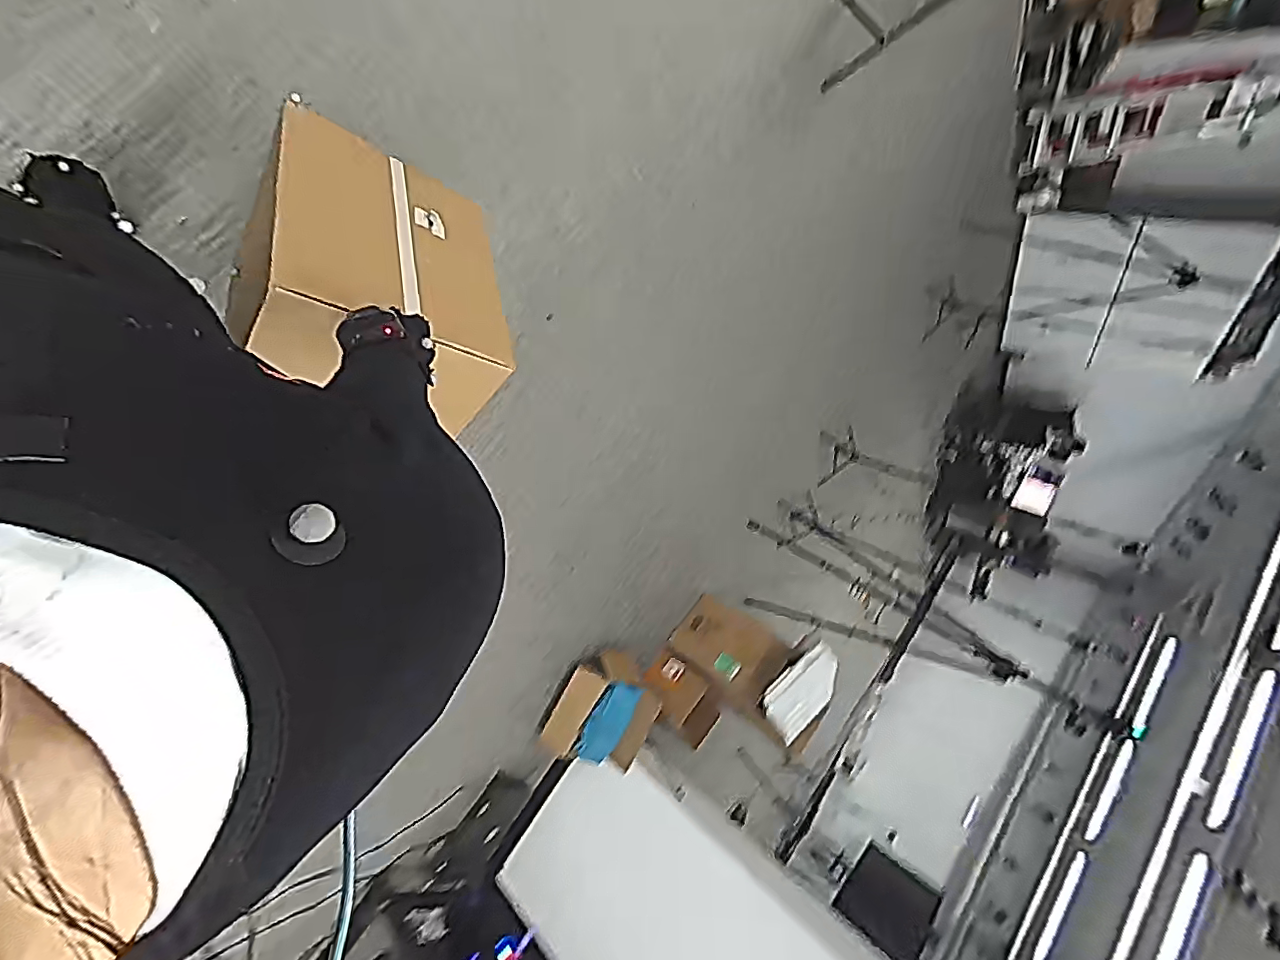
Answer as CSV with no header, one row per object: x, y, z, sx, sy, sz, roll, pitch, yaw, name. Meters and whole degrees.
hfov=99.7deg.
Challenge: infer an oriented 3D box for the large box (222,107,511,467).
-0.458,-0.279,0.882,0.320,0.408,0.320,12,139,-46,large box
